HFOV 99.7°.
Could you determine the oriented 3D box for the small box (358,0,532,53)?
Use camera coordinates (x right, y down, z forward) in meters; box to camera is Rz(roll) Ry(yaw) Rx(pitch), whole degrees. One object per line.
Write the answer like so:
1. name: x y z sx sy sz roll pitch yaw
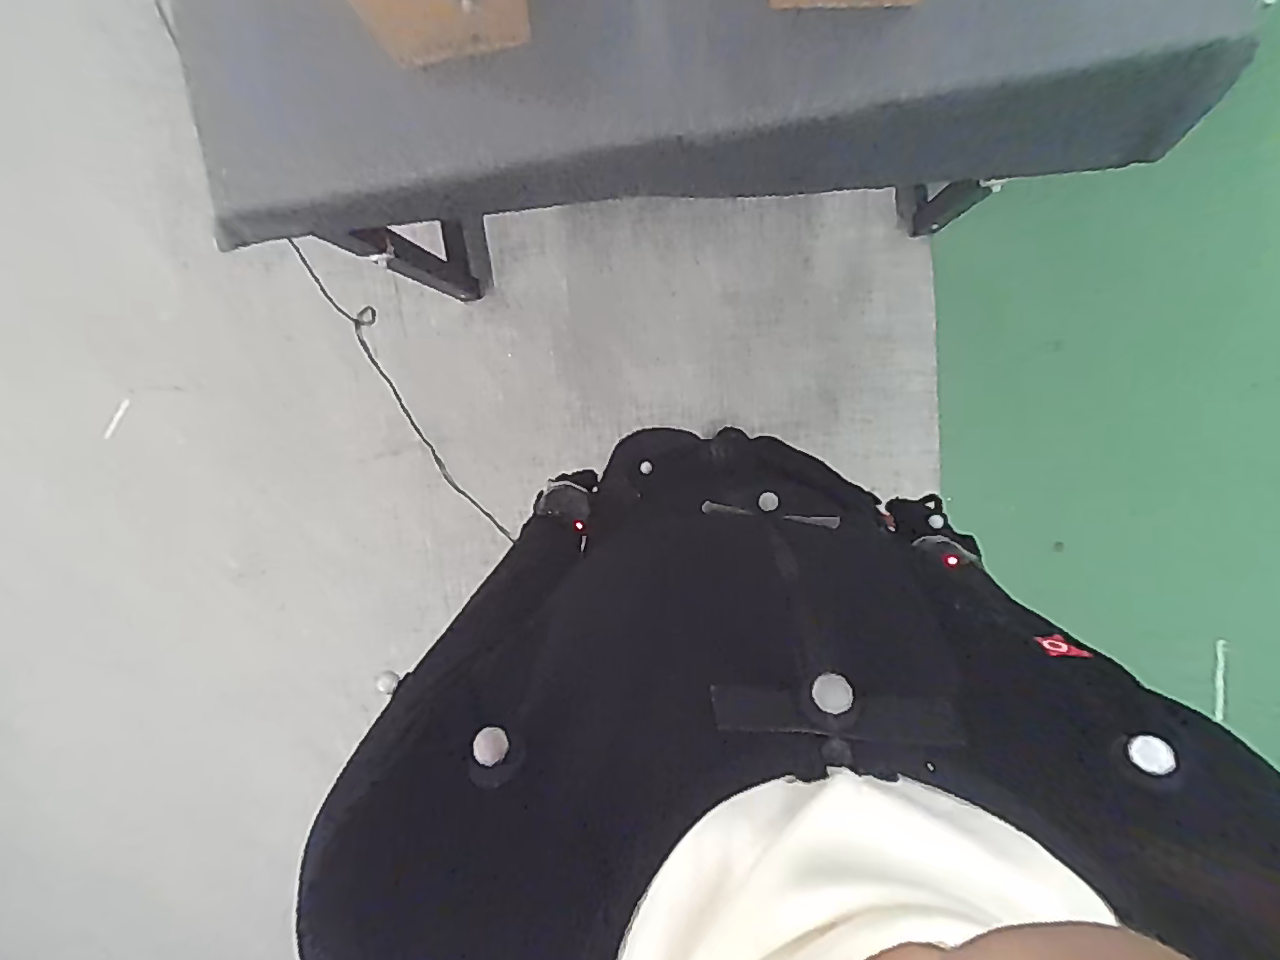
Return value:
1. small box: -0.222 -0.586 0.559 0.168 0.176 0.179 -8 96 5
